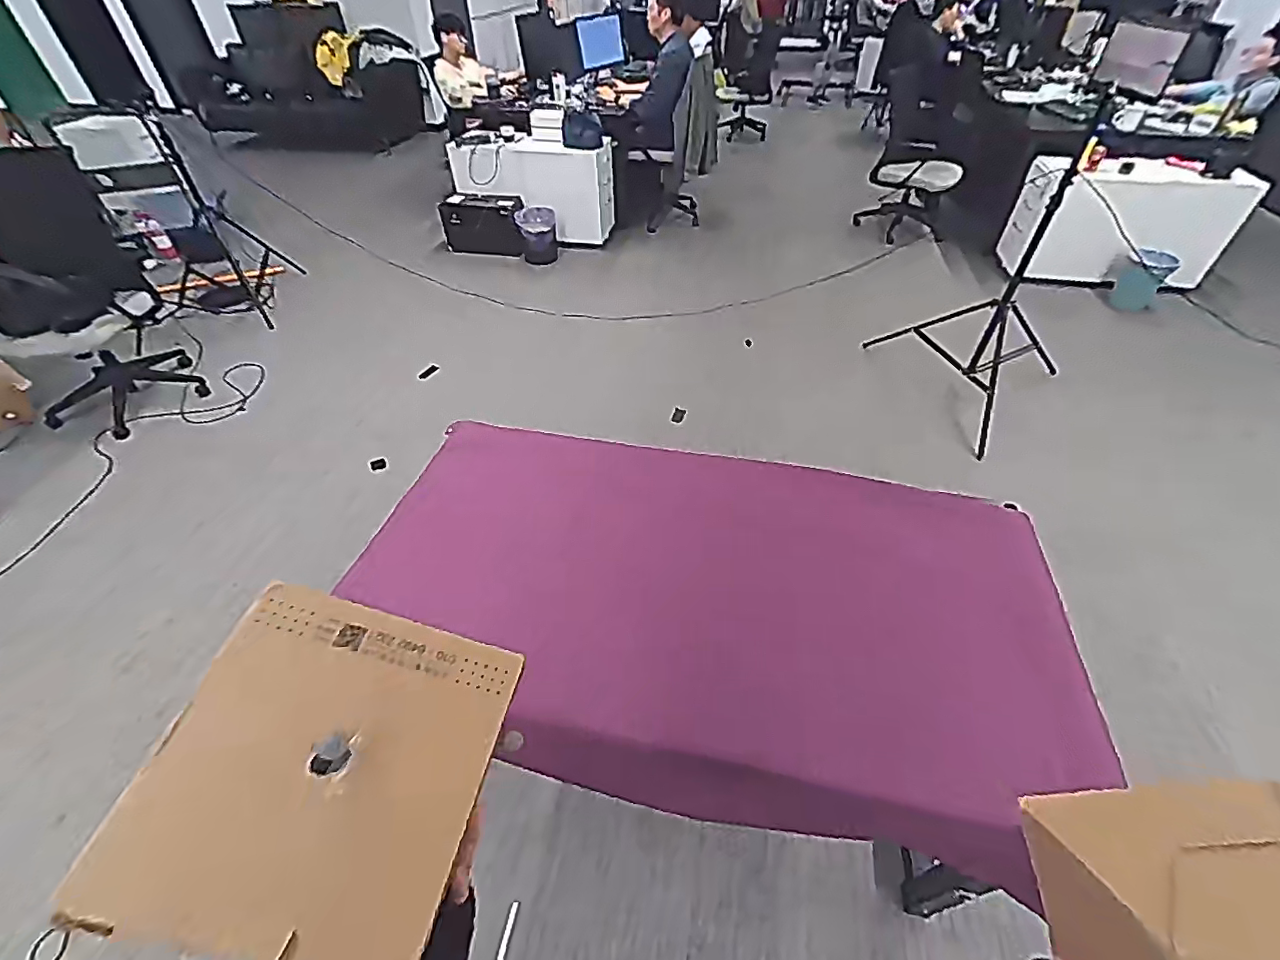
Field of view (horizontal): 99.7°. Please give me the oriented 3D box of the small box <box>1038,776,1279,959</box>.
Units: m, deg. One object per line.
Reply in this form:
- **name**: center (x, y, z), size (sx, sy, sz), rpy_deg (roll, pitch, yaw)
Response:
- **small box**: center (0.348, 0.276, 0.280), size (0.168, 0.179, 0.176), rpy_deg (-11, 78, 13)

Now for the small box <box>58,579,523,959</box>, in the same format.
- **small box**: center (-0.186, 0.187, 0.359), size (0.168, 0.179, 0.176), rpy_deg (20, 54, -4)
